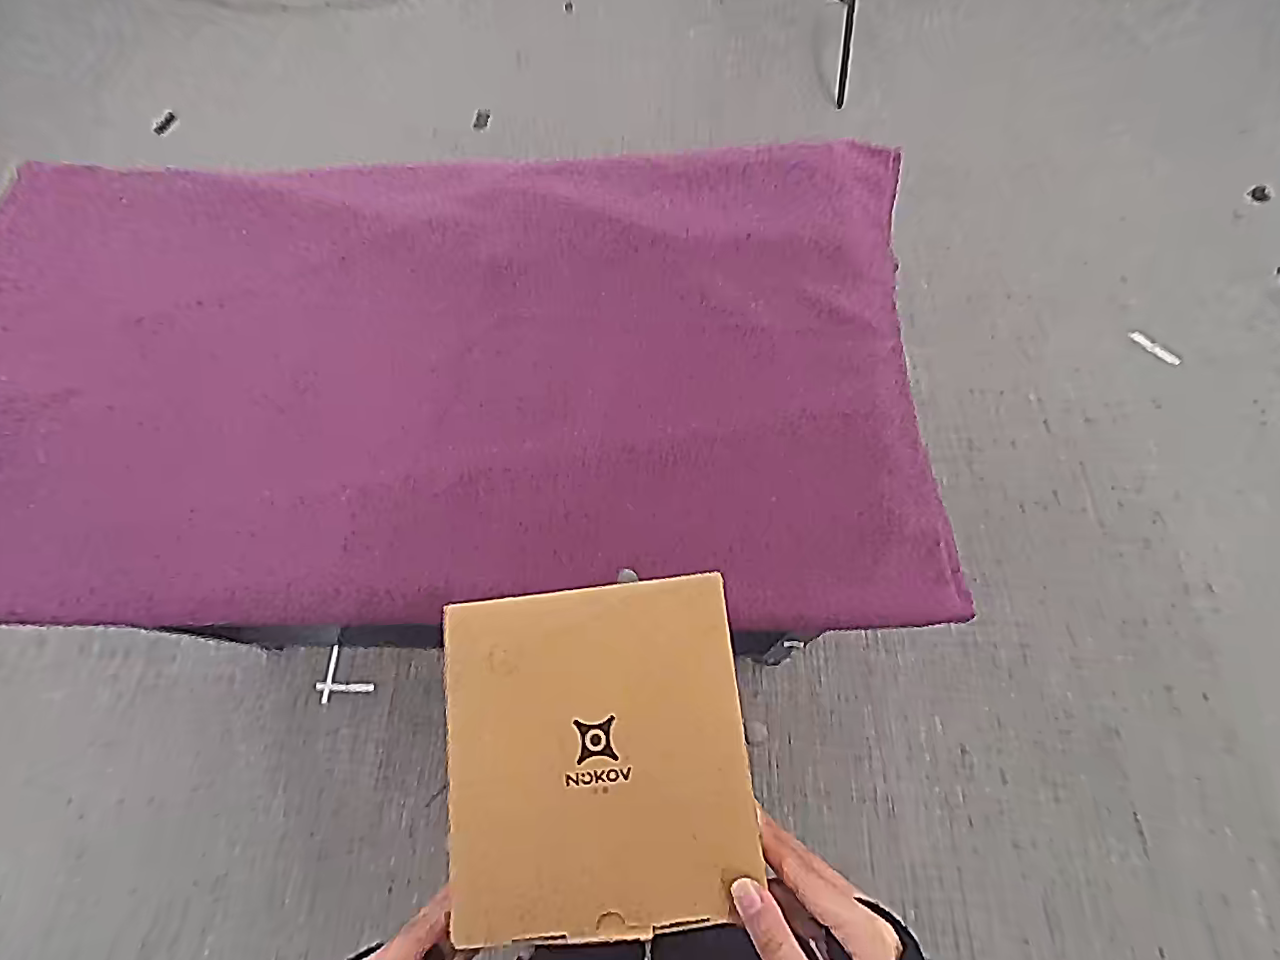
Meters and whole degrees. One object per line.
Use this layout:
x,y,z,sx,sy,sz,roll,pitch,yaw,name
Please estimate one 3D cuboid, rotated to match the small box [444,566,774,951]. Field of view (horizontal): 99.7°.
-0.020,0.161,0.367,0.168,0.176,0.179,-8,76,1,small box
